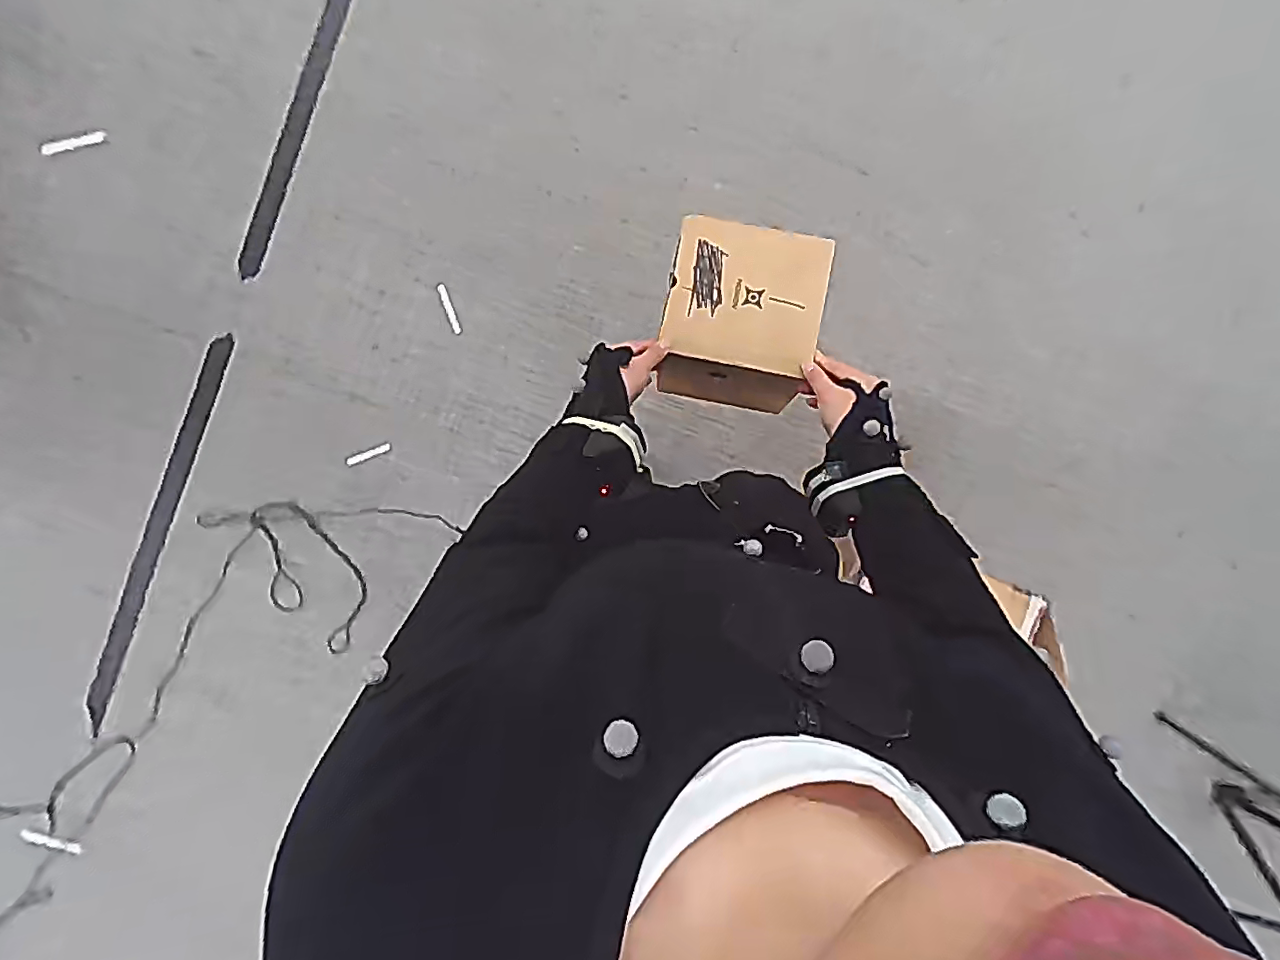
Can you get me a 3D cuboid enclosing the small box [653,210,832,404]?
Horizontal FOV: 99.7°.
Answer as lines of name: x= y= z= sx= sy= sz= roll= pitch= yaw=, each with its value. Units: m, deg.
small box: x=0.117 y=-0.203 z=0.680 sx=0.179 sy=0.176 sz=0.168 roll=11 pitch=85 yaw=3
